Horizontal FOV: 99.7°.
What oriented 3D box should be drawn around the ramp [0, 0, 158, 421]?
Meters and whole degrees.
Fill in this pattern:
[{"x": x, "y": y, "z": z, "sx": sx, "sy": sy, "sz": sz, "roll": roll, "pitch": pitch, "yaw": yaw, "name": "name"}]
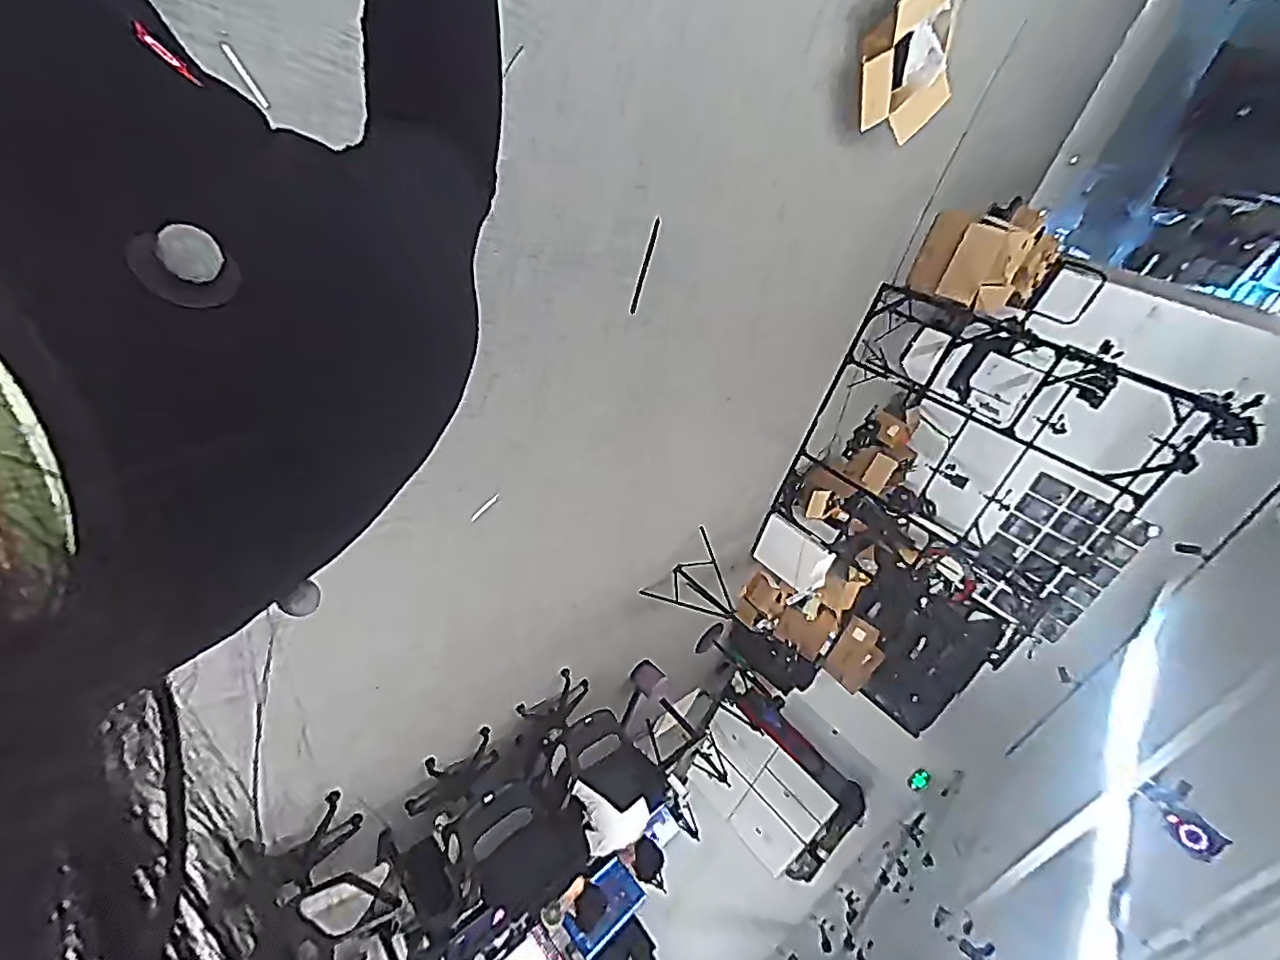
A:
[{"x": -1.206, "y": -0.500, "z": 0.954, "sx": 0.509, "sy": 0.206, "sz": 0.991, "roll": -15, "pitch": 133, "yaw": -45, "name": "ramp"}]
